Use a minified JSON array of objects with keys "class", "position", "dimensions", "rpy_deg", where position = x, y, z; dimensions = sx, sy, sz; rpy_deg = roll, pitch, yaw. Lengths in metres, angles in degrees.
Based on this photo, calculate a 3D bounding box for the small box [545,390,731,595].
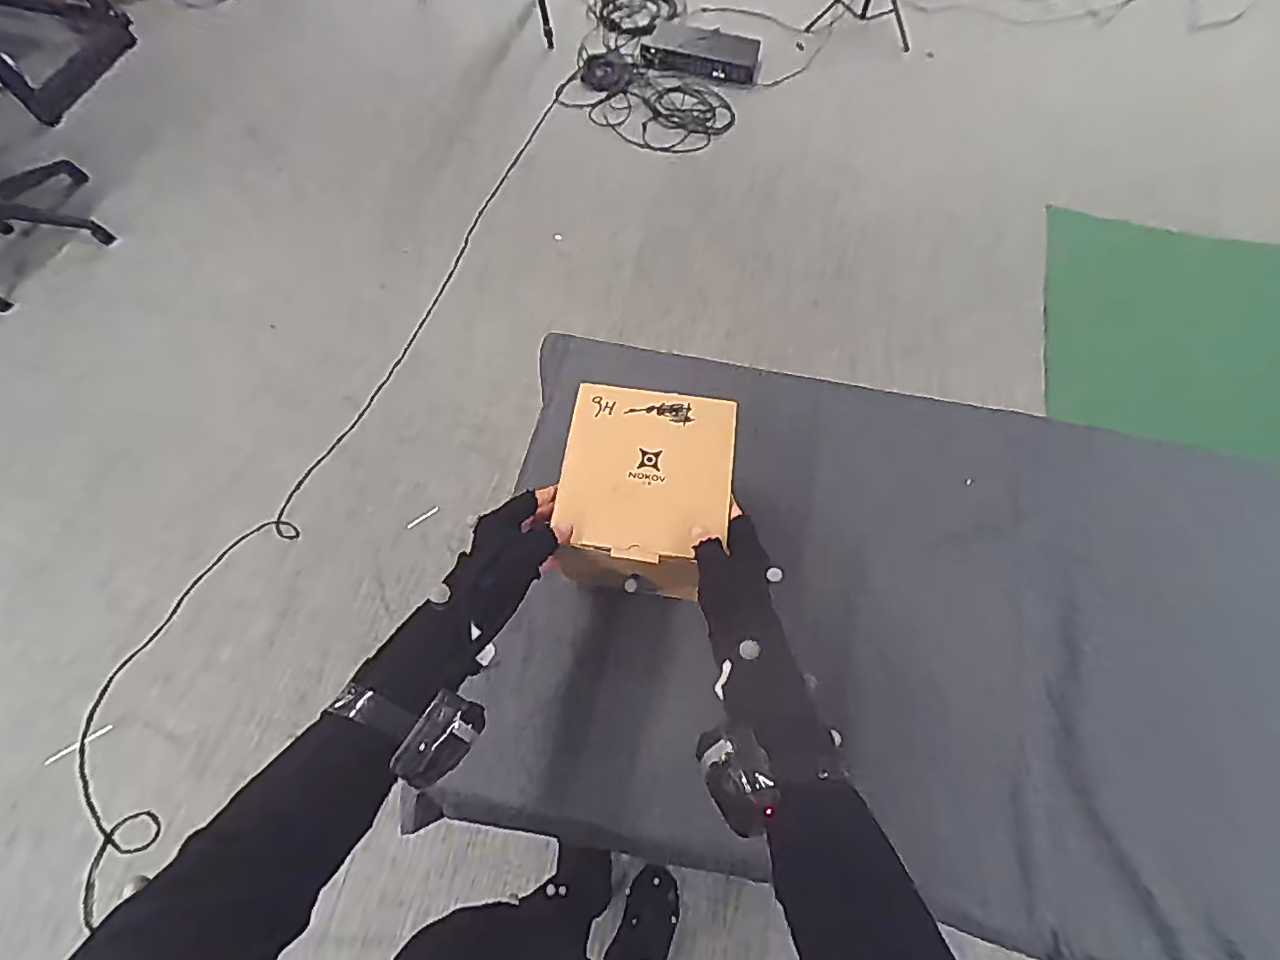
[{"class":"small box","position":[0.003,0.024,0.606],"dimensions":[0.168,0.176,0.179],"rpy_deg":[7,68,3]}]
